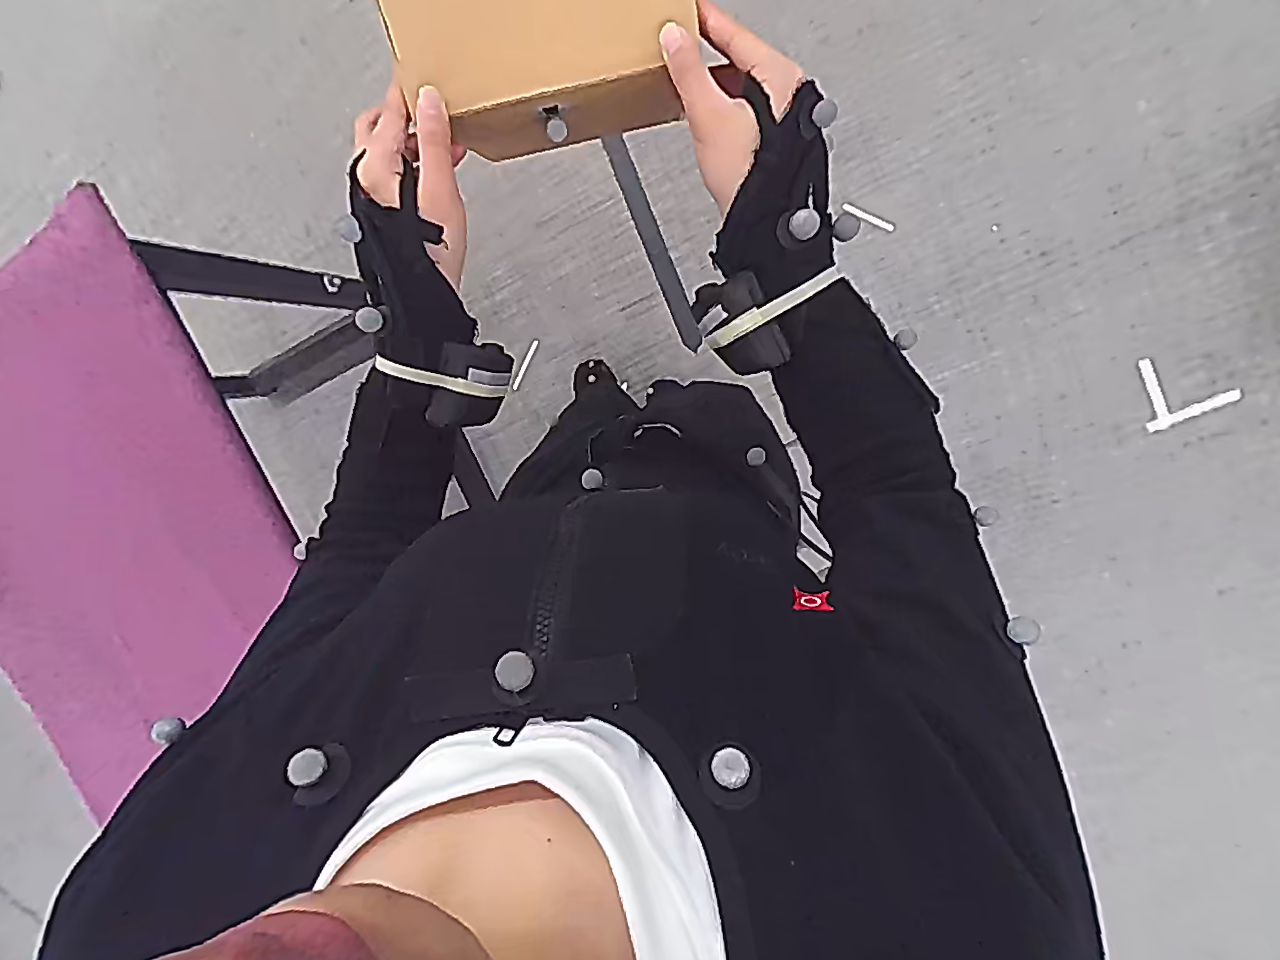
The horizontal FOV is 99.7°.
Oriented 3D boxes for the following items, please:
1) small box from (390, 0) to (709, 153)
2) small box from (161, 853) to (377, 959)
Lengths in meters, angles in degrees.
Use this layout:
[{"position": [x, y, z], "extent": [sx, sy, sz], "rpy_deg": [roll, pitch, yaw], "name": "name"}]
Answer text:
[{"position": [-0.056, -0.334, 0.357], "extent": [0.179, 0.176, 0.168], "rpy_deg": [-8, 113, 6], "name": "small box"}, {"position": [-0.531, 0.689, 0.791], "extent": [0.179, 0.176, 0.168], "rpy_deg": [-15, 99, 12], "name": "small box"}]
